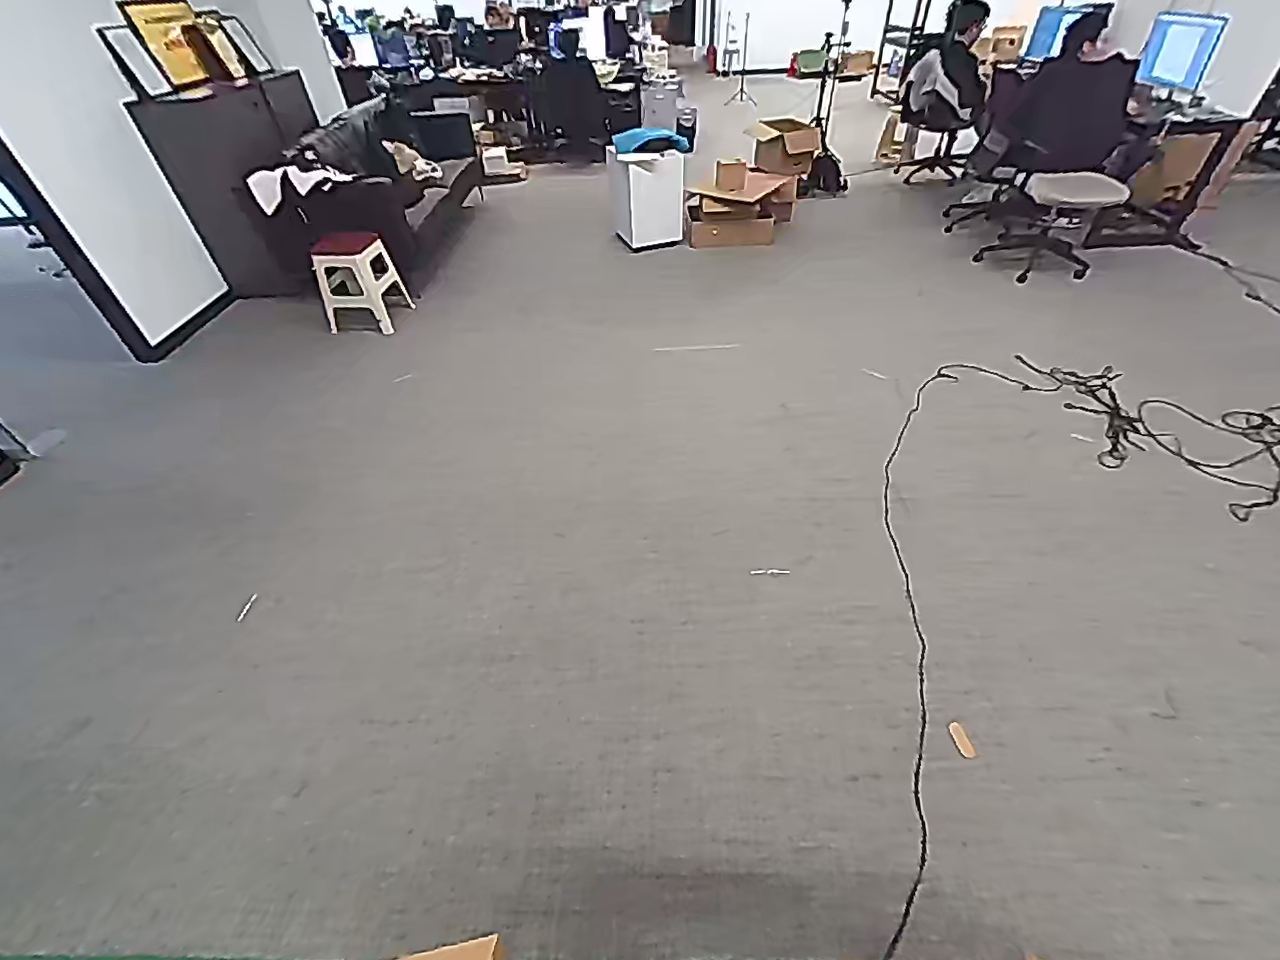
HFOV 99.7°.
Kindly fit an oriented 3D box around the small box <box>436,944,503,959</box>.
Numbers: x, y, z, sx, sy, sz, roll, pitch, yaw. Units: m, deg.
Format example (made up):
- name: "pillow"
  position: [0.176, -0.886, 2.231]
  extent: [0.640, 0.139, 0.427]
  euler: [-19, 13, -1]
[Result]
- name: "small box"
  position: [-0.243, 0.690, 0.607]
  extent: [0.168, 0.179, 0.176]
  euler: [-13, 87, -2]
